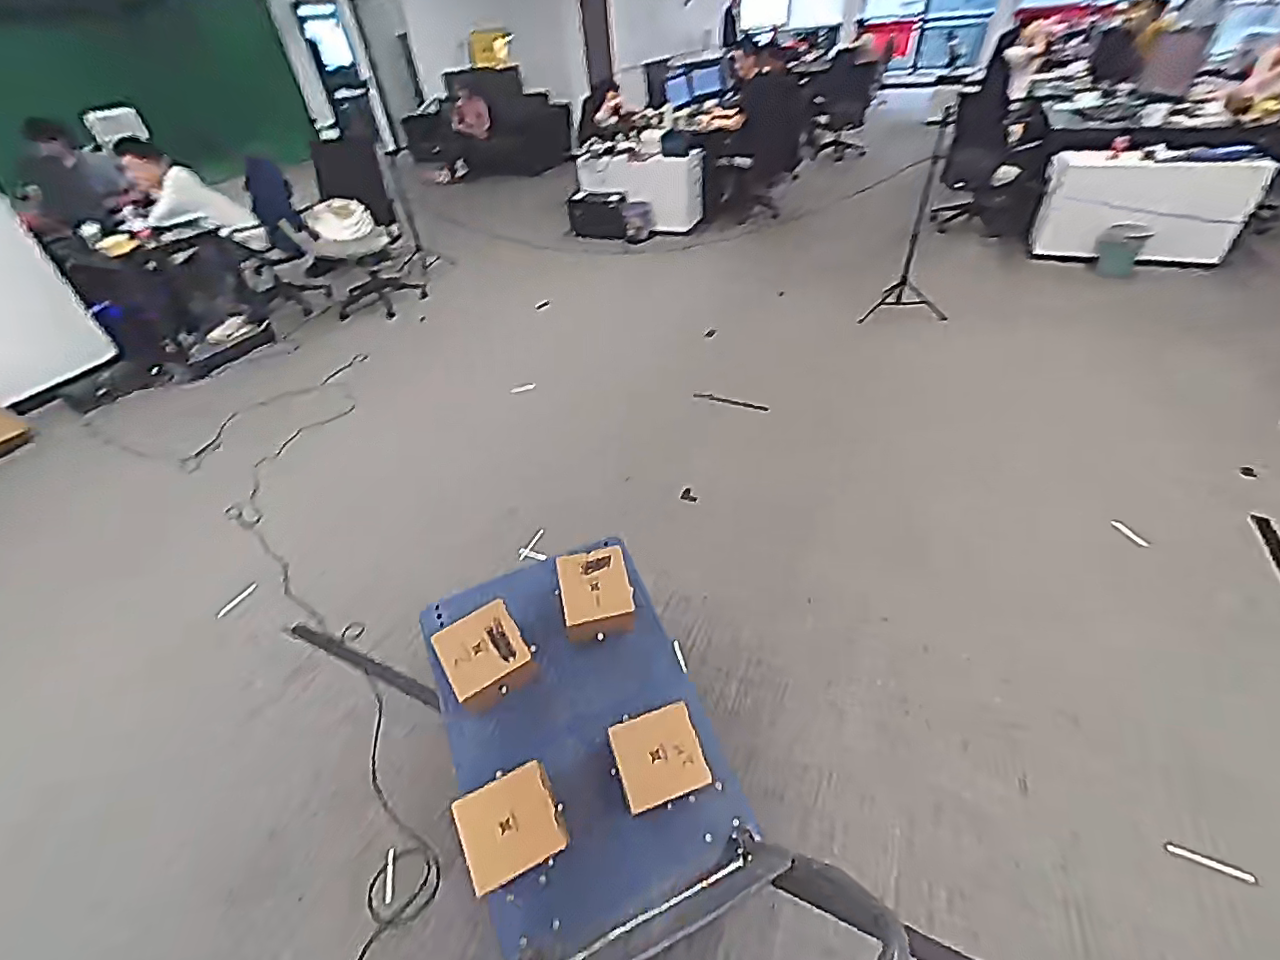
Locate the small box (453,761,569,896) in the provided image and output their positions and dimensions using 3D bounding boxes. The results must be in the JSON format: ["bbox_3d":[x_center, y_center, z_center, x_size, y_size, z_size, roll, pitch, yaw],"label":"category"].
[{"bbox_3d":[-0.256,0.703,1.099,0.179,0.176,0.168,-21,62,-18],"label":"small box"}]

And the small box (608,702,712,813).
[{"bbox_3d":[0.037,0.607,1.178,0.179,0.176,0.168,-15,61,-13],"label":"small box"}]

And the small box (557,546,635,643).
[{"bbox_3d":[-0.114,0.291,1.365,0.168,0.176,0.179,-10,60,-10],"label":"small box"}]
